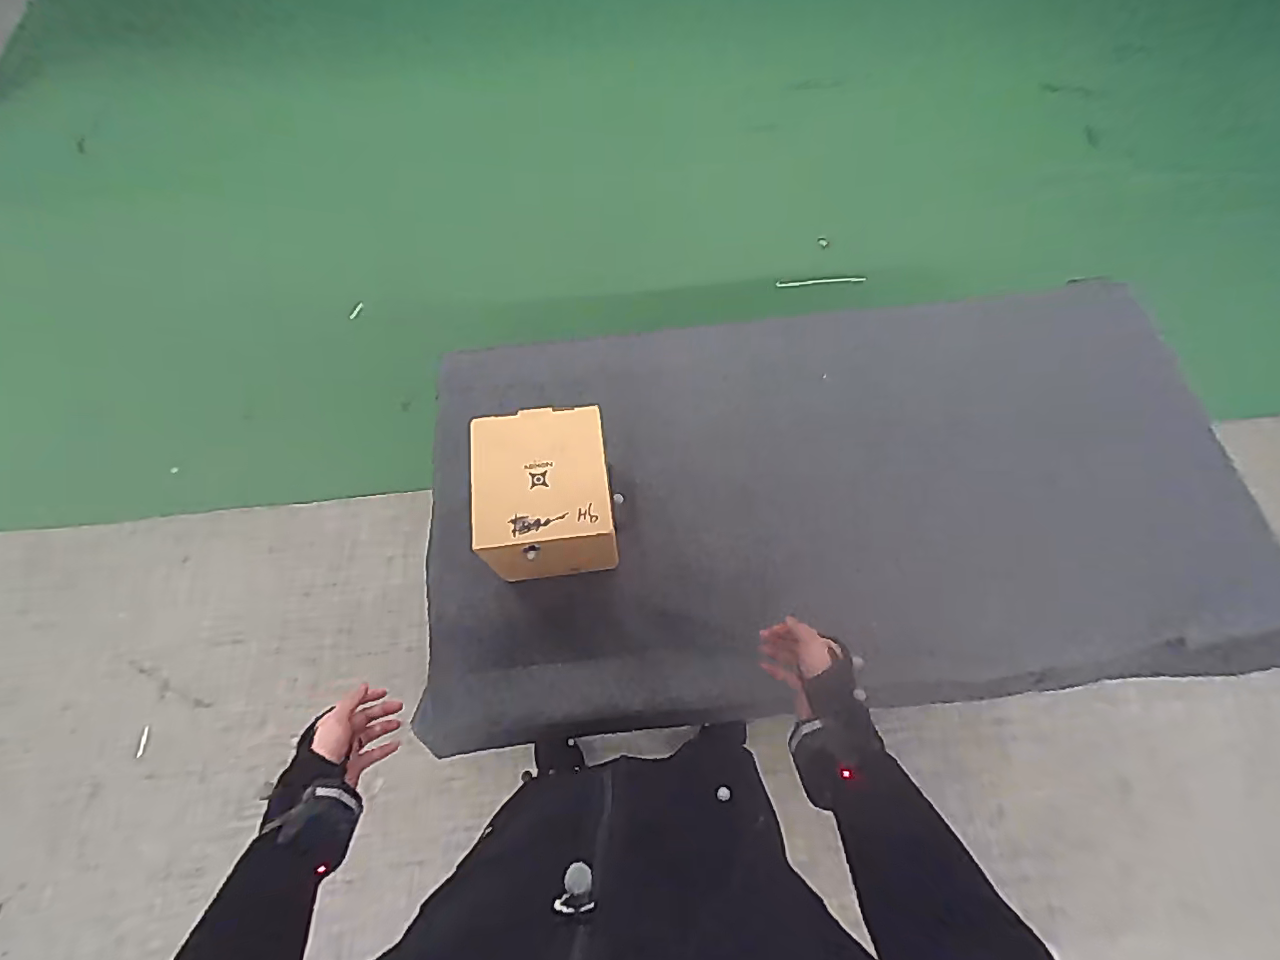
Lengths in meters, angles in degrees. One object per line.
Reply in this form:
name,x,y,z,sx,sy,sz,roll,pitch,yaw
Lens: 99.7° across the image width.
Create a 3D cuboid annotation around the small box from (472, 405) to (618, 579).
small box,-0.122,0.022,0.730,0.168,0.176,0.179,-7,67,-2
